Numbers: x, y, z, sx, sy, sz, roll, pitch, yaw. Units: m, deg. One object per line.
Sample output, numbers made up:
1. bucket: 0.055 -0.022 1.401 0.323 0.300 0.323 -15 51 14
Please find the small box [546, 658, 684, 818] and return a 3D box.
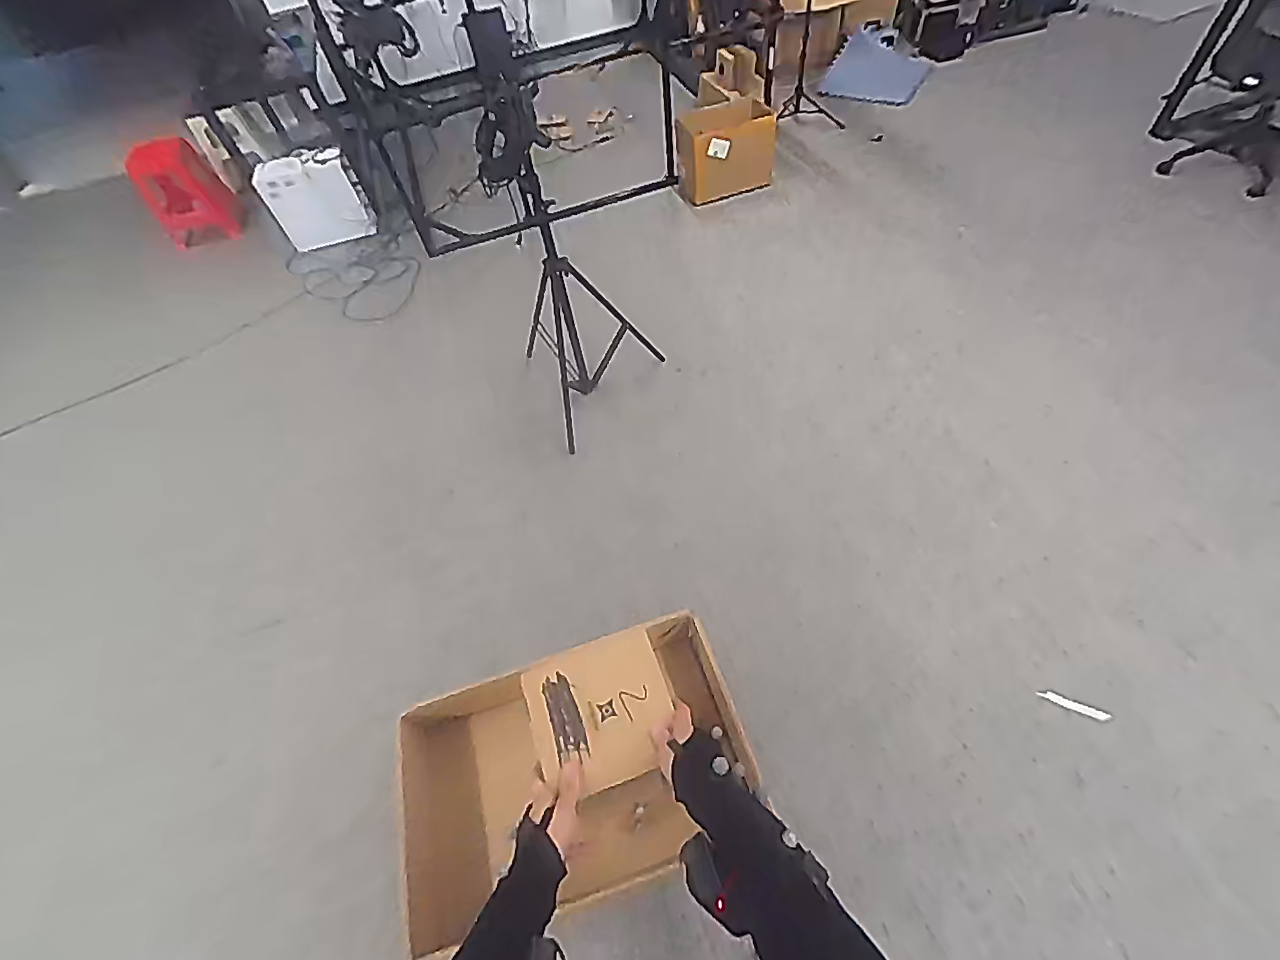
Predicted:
1. small box: -0.037 0.418 0.868 0.168 0.176 0.179 -20 56 -4
